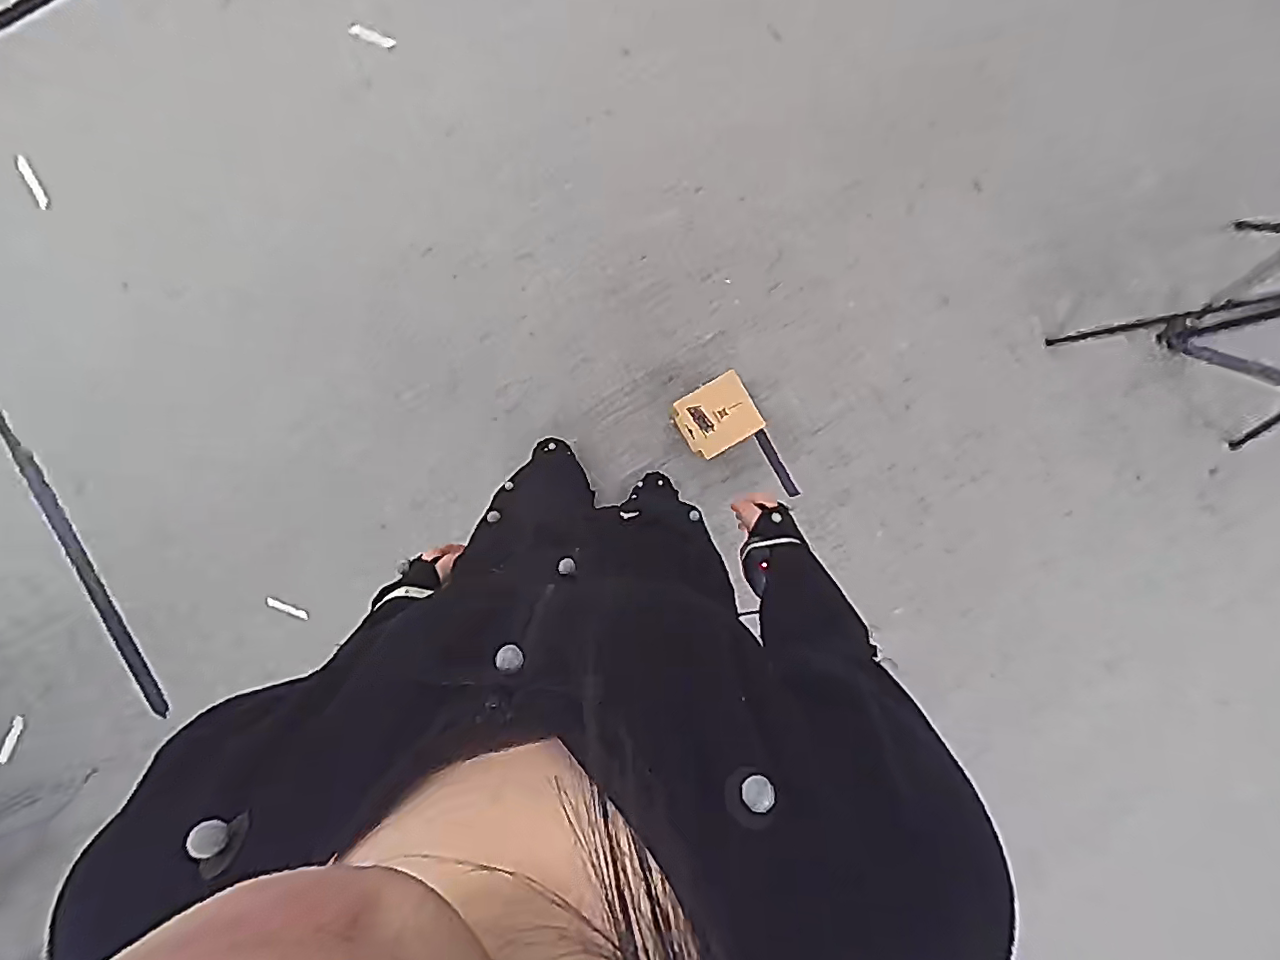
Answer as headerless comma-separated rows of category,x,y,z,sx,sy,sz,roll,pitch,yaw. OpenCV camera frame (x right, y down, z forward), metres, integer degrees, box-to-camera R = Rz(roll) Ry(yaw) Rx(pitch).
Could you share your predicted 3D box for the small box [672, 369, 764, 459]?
small box,0.195,-0.164,1.411,0.179,0.176,0.168,-30,91,0
